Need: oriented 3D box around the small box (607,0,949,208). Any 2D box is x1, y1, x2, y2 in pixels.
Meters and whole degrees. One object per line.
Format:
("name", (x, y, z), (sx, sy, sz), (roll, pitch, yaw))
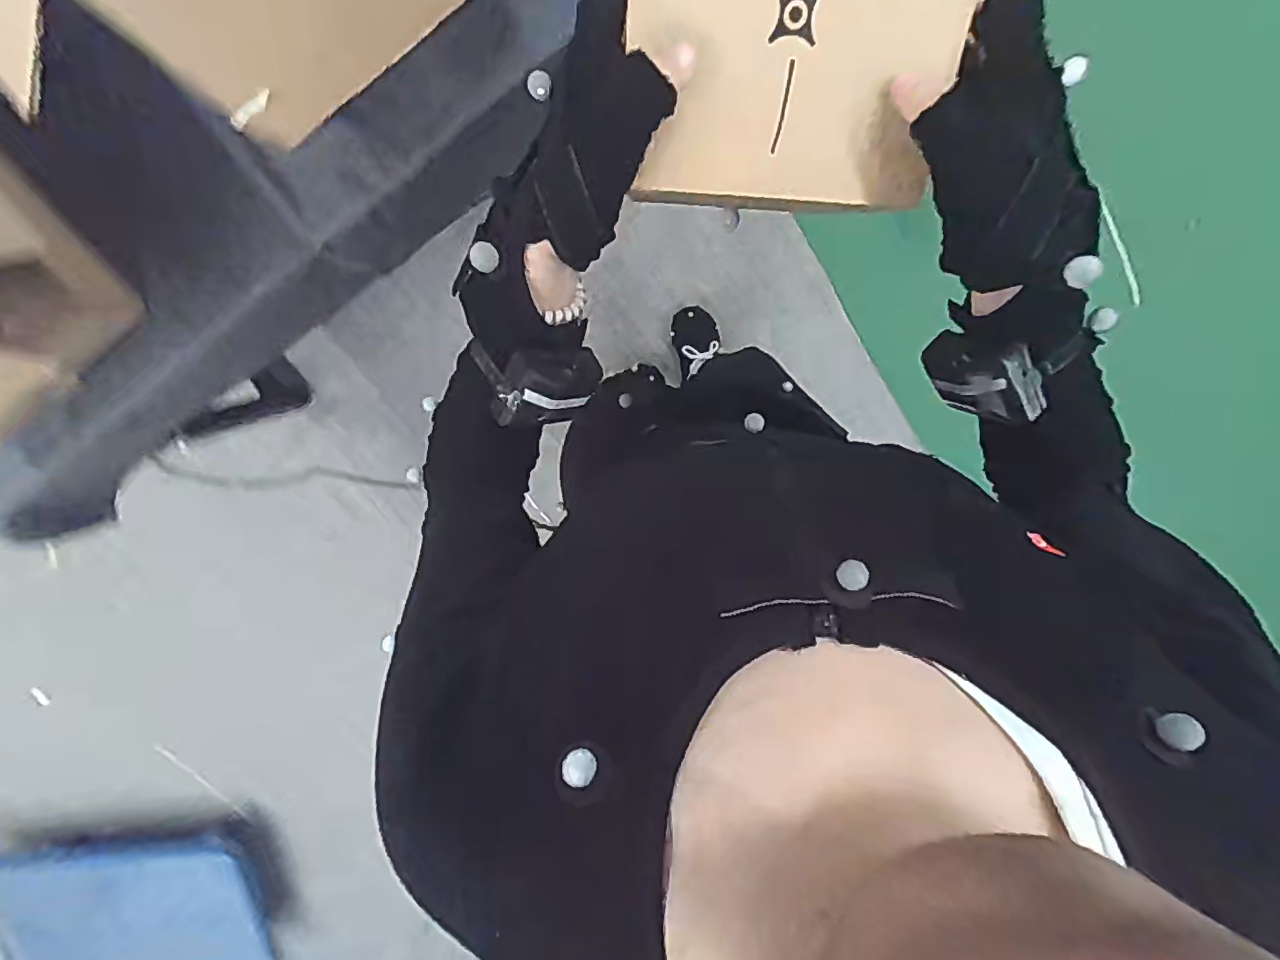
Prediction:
("small box", (0.068, -0.271, 0.332), (0.168, 0.176, 0.179), (3, 116, -1))
